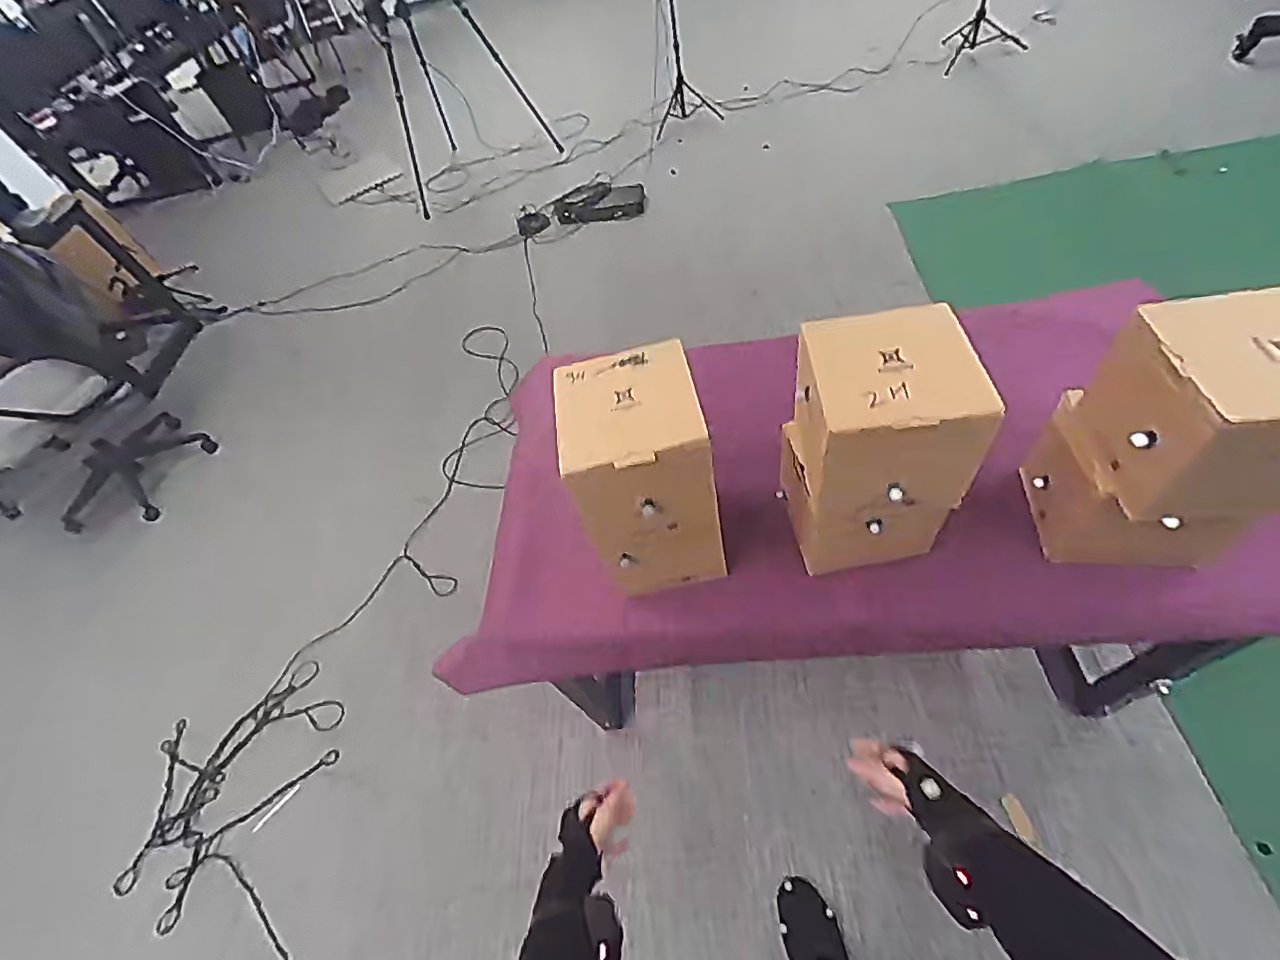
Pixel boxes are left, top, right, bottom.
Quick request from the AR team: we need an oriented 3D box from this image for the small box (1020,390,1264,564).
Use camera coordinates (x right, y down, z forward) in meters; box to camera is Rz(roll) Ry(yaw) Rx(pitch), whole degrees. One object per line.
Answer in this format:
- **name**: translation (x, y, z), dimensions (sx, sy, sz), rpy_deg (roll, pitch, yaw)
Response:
- **small box**: translation (0.639, -0.001, 0.706), dimensions (0.179, 0.176, 0.168), rpy_deg (1, 53, 16)

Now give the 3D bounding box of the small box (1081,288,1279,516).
- **small box**: translation (0.605, -0.074, 0.561), dimensions (0.179, 0.176, 0.168), rpy_deg (-4, 53, 12)

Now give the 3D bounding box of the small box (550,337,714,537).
- **small box**: translation (-0.007, -0.044, 0.682), dimensions (0.168, 0.176, 0.179), rpy_deg (-12, 52, 4)

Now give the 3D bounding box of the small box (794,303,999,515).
- **small box**: translation (0.280, -0.079, 0.641), dimensions (0.168, 0.176, 0.179), rpy_deg (-6, 53, 9)

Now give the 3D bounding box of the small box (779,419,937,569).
- **small box**: translation (0.307, 0.011, 0.776), dimensions (0.179, 0.176, 0.168), rpy_deg (-11, 52, 4)
